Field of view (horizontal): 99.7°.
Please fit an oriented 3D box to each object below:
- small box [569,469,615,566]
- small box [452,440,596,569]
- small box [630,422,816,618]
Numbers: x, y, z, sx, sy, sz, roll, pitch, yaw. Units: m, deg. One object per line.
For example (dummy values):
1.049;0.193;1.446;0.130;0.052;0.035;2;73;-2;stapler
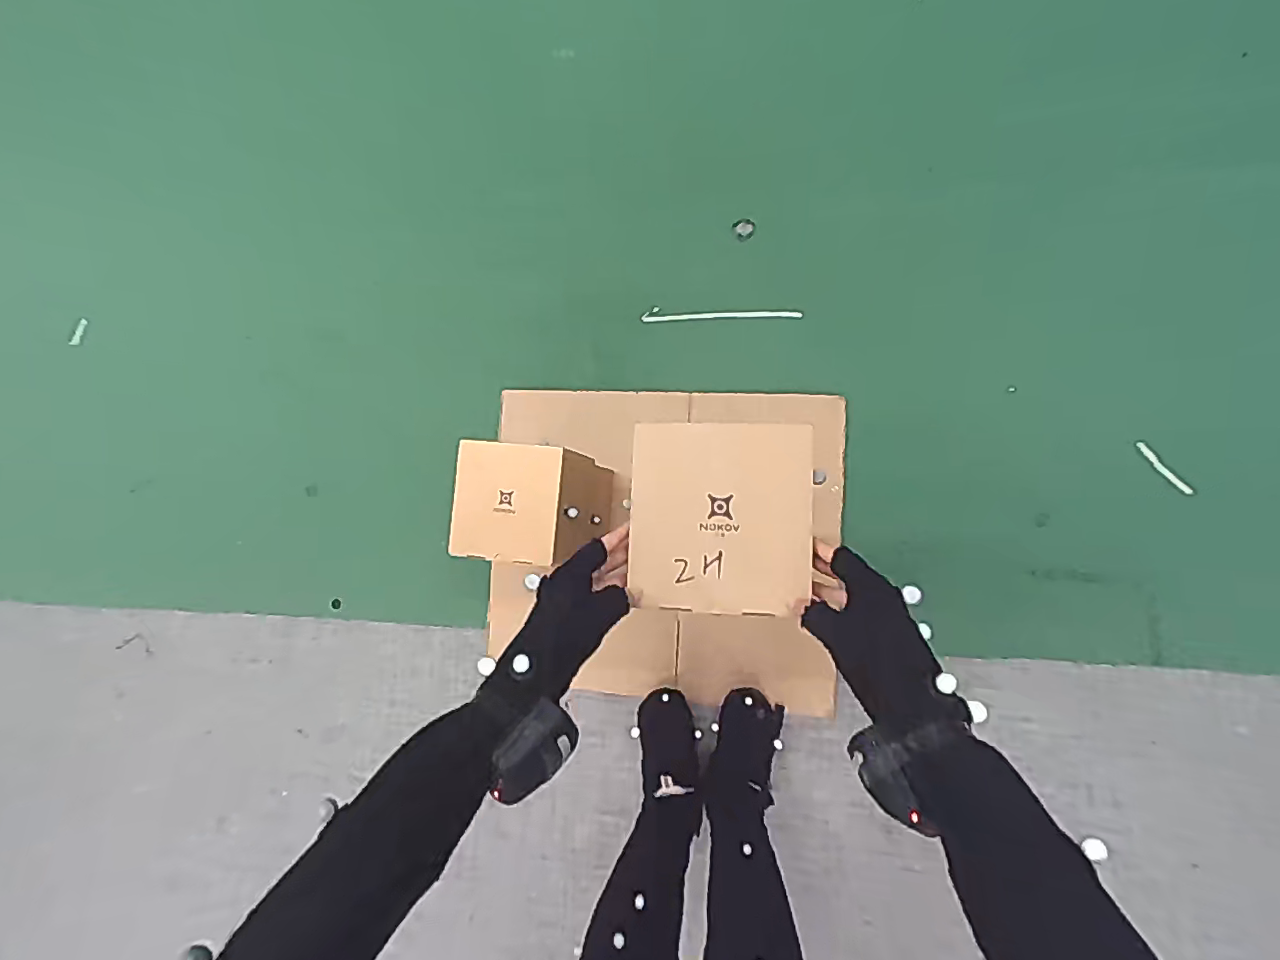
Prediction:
-0.150;0.061;1.026;0.168;0.176;0.179;4;86;12;small box
-0.175;0.039;0.866;0.168;0.176;0.179;5;88;12;small box
0.088;0.042;0.577;0.168;0.176;0.179;2;84;10;small box
